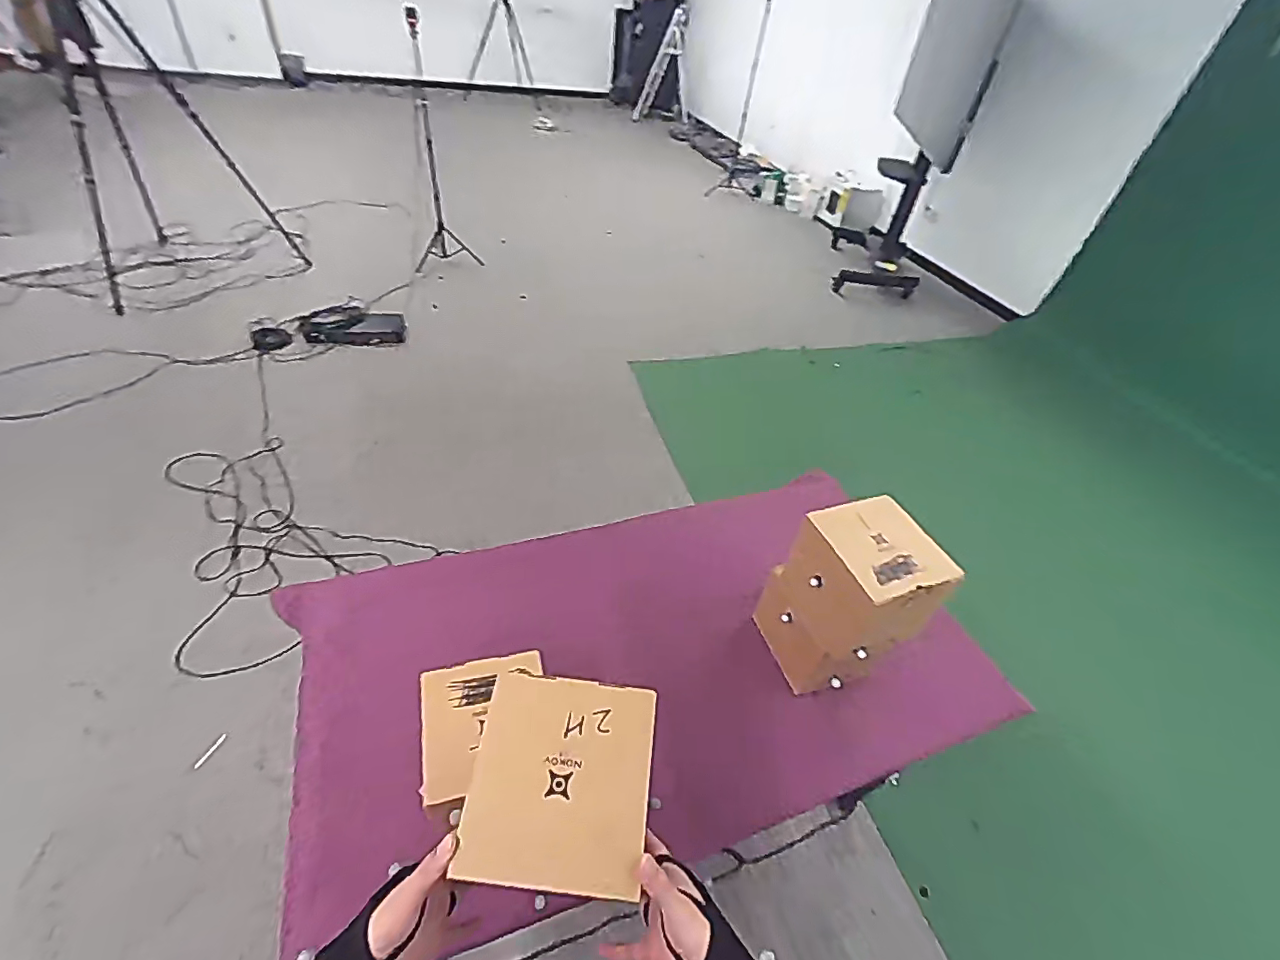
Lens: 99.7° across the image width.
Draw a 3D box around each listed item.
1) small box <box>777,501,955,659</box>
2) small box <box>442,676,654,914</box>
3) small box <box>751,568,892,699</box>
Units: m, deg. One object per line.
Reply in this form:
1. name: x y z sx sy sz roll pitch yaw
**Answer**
1. small box: 0.345 0.164 0.865 0.168 0.176 0.179 -11 45 -18
2. small box: -0.082 0.328 0.565 0.168 0.176 0.179 8 52 1
3. small box: 0.324 0.269 0.990 0.168 0.176 0.179 -9 46 -16
